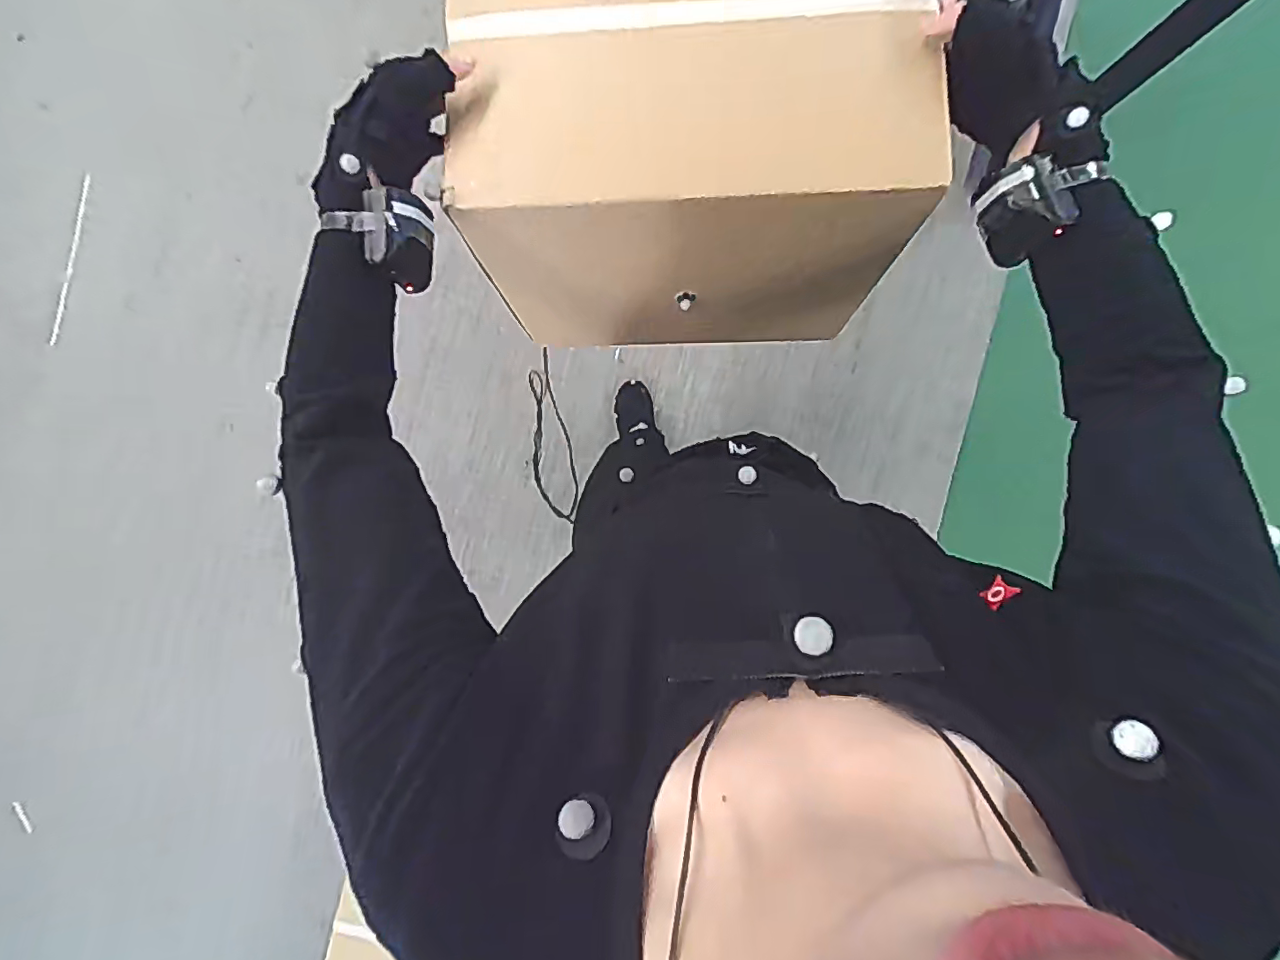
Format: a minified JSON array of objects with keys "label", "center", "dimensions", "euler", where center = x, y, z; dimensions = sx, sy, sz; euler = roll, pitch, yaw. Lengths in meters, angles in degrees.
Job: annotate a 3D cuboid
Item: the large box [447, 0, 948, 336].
[{"label":"large box","center":[0.049,-0.366,0.593],"dimensions":[0.408,0.320,0.320],"euler":[-1,82,4]}]
